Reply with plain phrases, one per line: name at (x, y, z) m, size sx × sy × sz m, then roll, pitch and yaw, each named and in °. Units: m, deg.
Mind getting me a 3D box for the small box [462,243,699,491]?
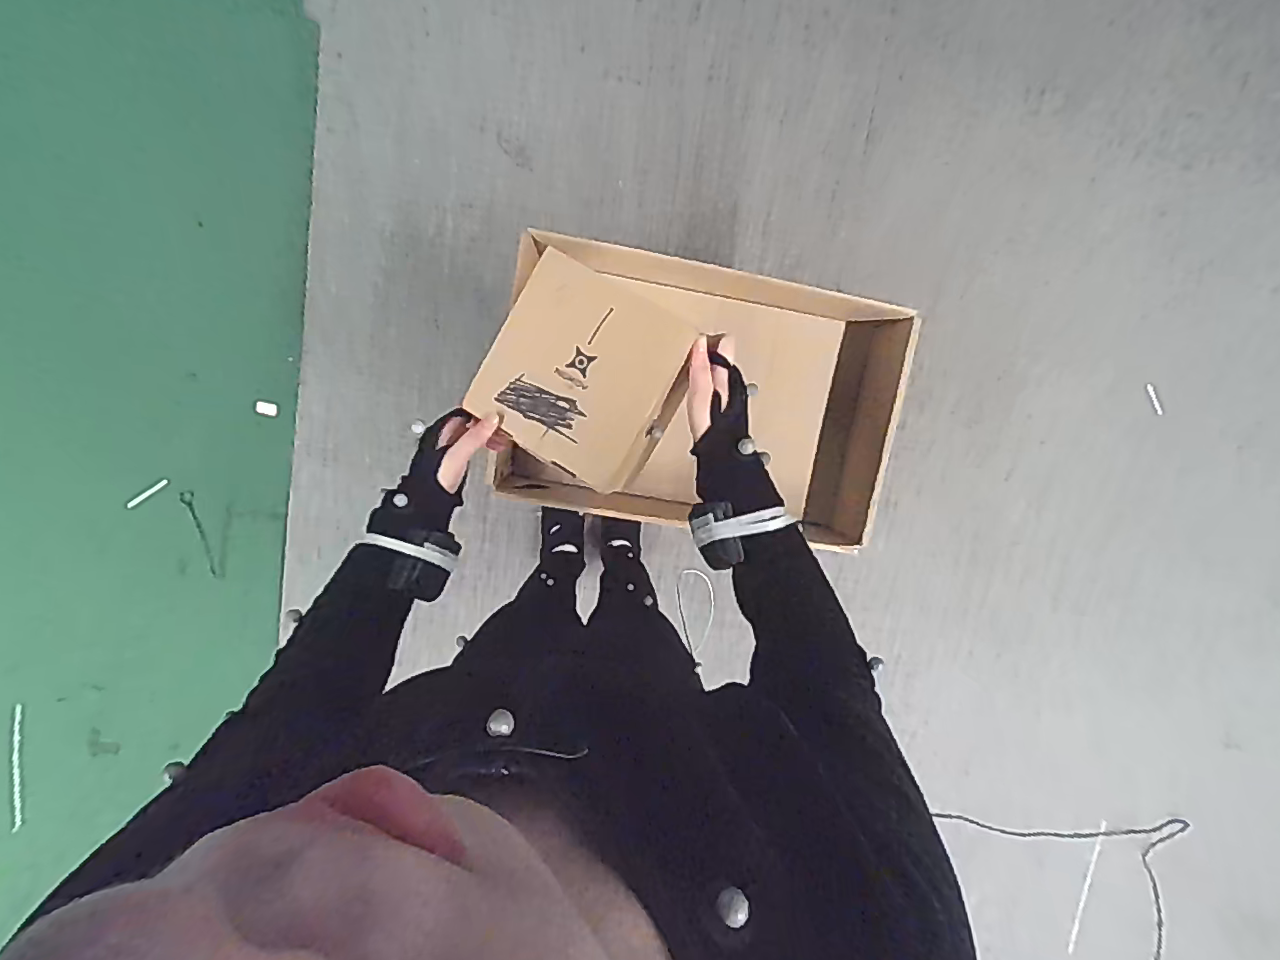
small box at (-0.046, -0.105, 0.575) m, size 0.168 × 0.176 × 0.179 m, roll 33°, pitch 95°, yaw 7°
